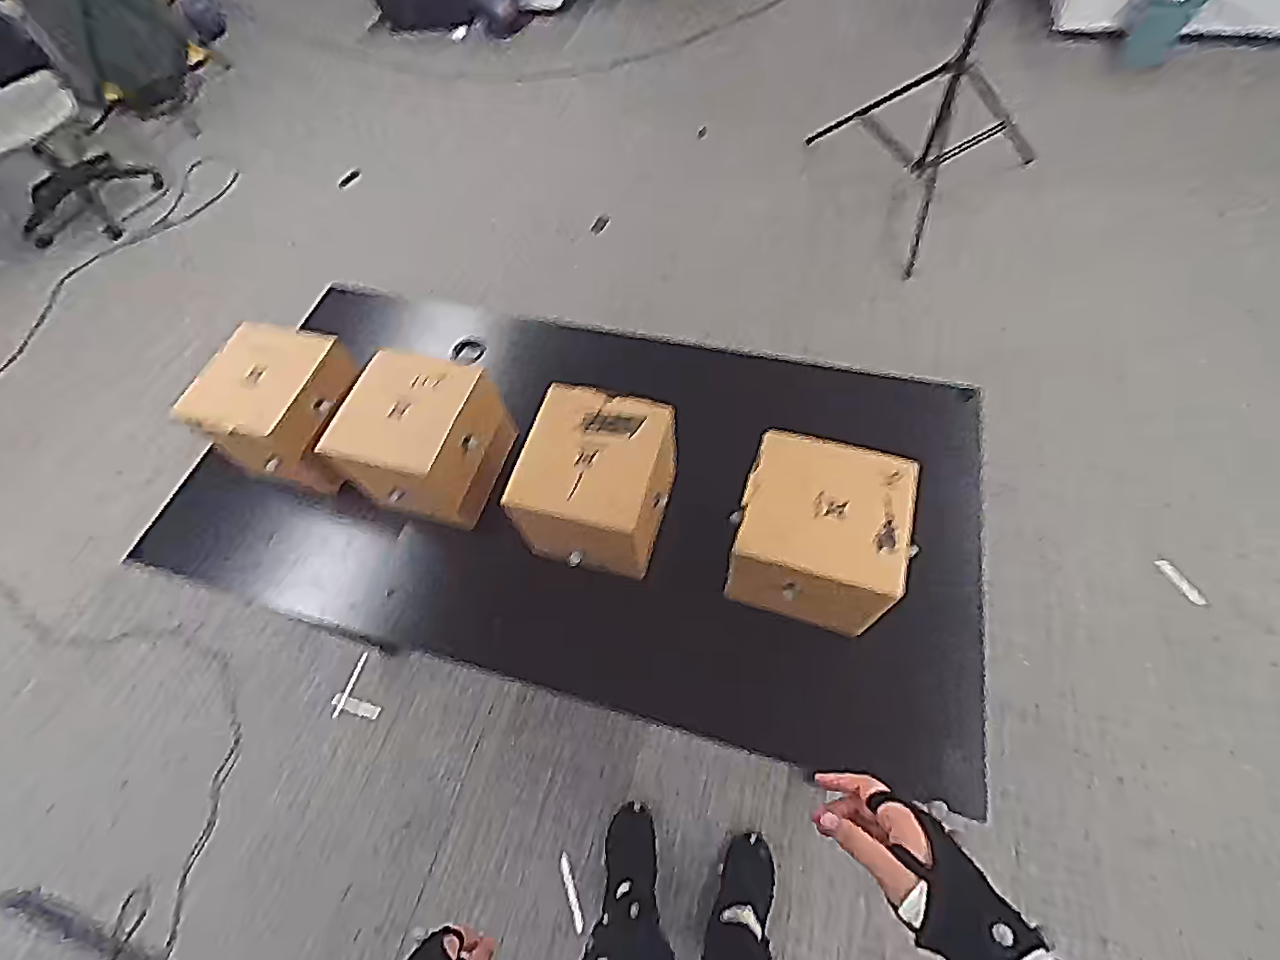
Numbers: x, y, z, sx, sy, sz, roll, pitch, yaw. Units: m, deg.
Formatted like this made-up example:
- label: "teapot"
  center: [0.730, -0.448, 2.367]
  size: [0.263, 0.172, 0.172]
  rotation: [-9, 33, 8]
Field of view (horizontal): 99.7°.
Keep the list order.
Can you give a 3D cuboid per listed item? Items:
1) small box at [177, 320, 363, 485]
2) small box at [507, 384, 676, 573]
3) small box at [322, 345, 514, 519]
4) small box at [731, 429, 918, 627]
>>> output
- label: "small box"
  center: [-0.531, -0.114, 0.834]
  size: [0.168, 0.176, 0.179]
  rotation: [12, 62, 10]
- label: "small box"
  center: [-0.052, 0.003, 0.727]
  size: [0.168, 0.176, 0.179]
  rotation: [13, 64, 12]
- label: "small box"
  center: [-0.303, -0.063, 0.784]
  size: [0.168, 0.176, 0.179]
  rotation: [13, 63, 11]
- label: "small box"
  center: [0.216, 0.065, 0.668]
  size: [0.179, 0.176, 0.168]
  rotation: [15, 64, 14]
